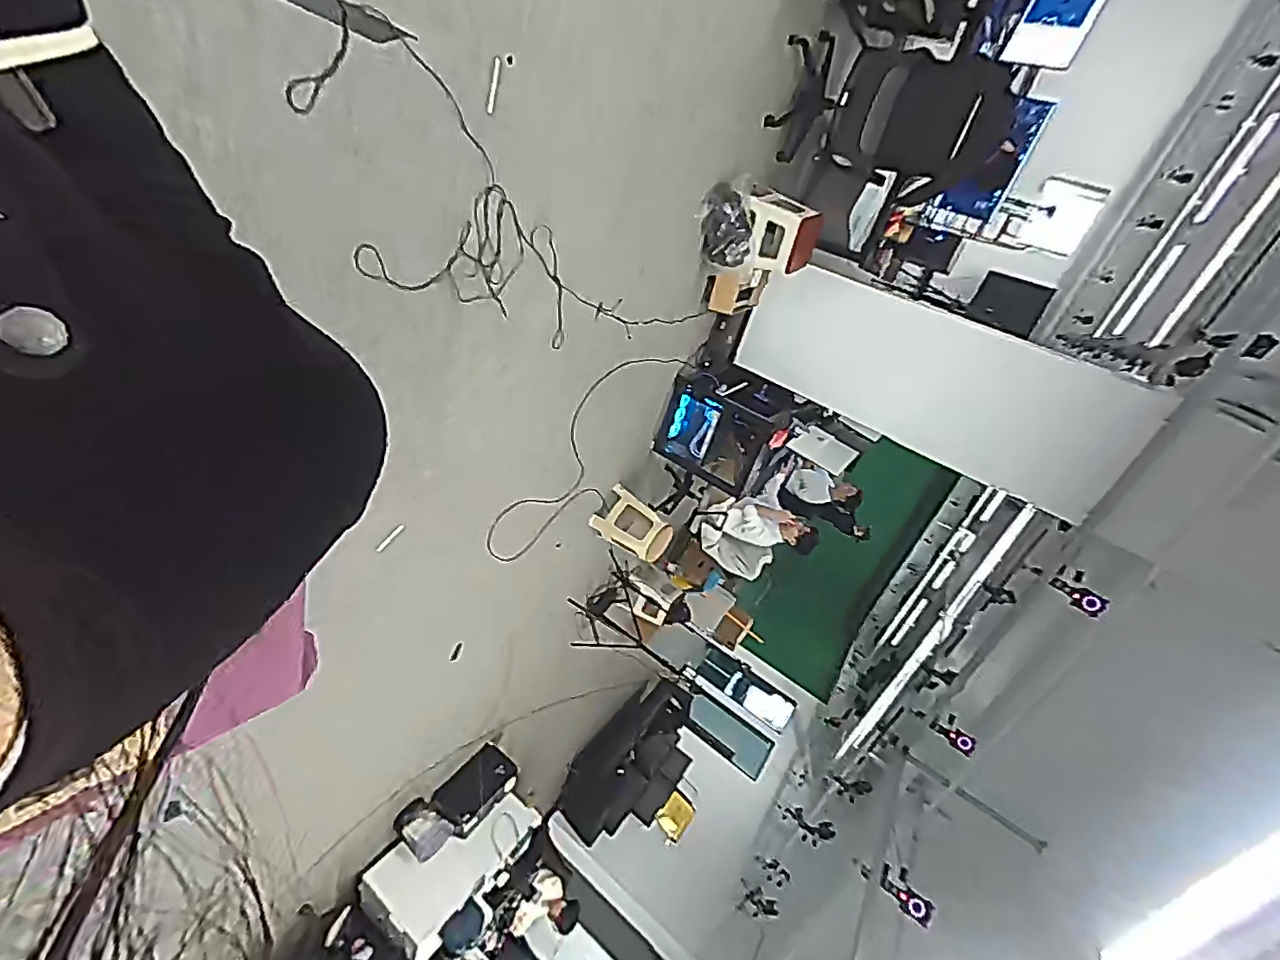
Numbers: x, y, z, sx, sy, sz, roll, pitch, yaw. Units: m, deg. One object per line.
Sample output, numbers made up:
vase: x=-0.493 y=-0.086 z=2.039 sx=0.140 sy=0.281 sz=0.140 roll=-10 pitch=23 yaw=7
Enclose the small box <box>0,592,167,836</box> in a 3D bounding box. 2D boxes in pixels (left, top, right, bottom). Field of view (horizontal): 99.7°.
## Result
small box: x=-0.712 y=0.270 z=0.654 sx=0.168 sy=0.176 sz=0.179 roll=-22 pitch=137 yaw=-56
